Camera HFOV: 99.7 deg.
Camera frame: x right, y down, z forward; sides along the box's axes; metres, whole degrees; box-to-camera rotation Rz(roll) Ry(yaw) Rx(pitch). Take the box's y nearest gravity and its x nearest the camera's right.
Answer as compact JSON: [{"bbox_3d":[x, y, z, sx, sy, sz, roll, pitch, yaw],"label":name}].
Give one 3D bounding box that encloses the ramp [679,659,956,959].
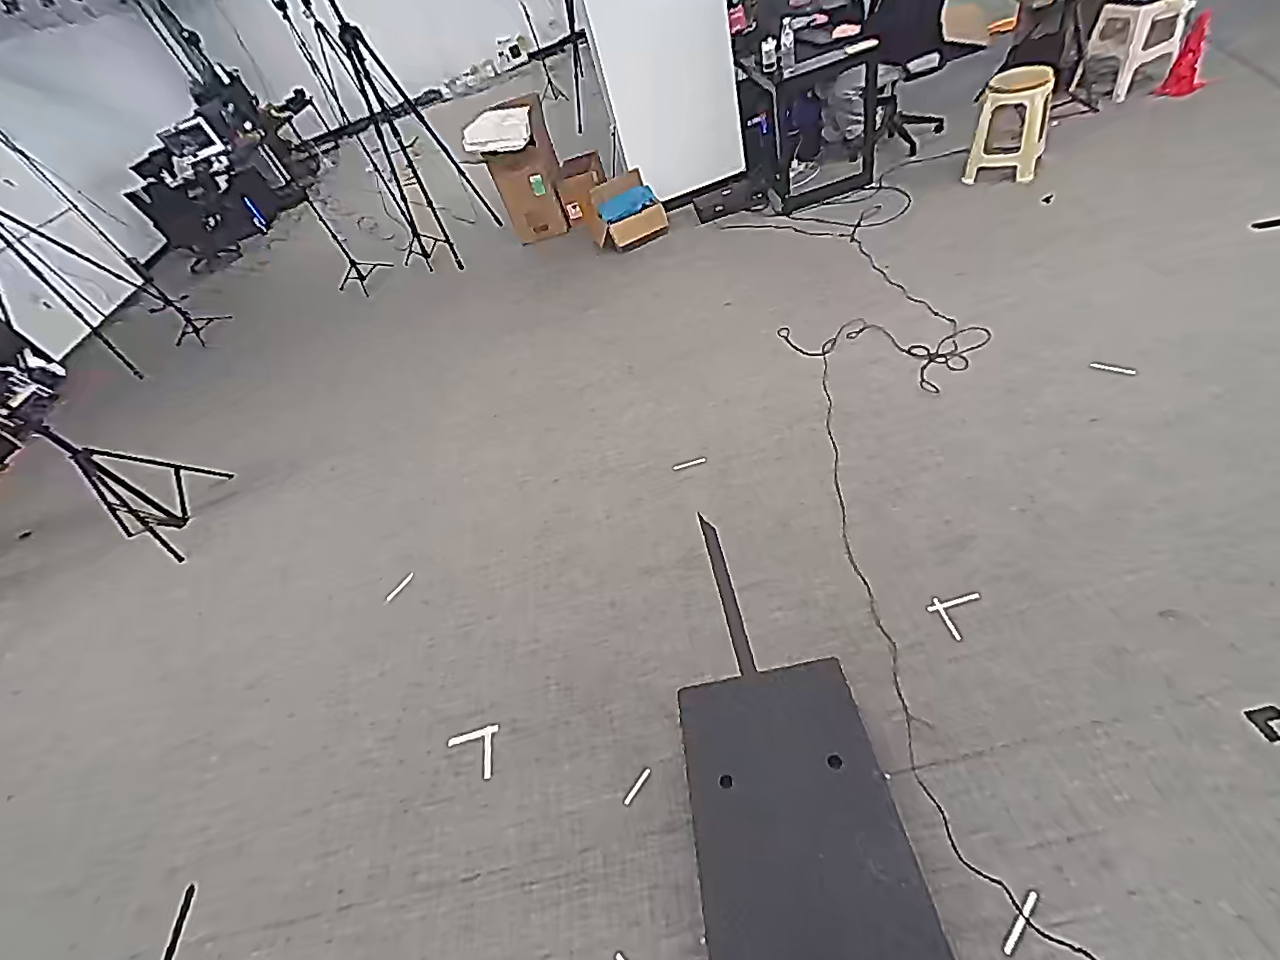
[{"bbox_3d":[0.373,0.889,1.235,0.509,0.206,0.991,-17,46,7],"label":"ramp"}]
